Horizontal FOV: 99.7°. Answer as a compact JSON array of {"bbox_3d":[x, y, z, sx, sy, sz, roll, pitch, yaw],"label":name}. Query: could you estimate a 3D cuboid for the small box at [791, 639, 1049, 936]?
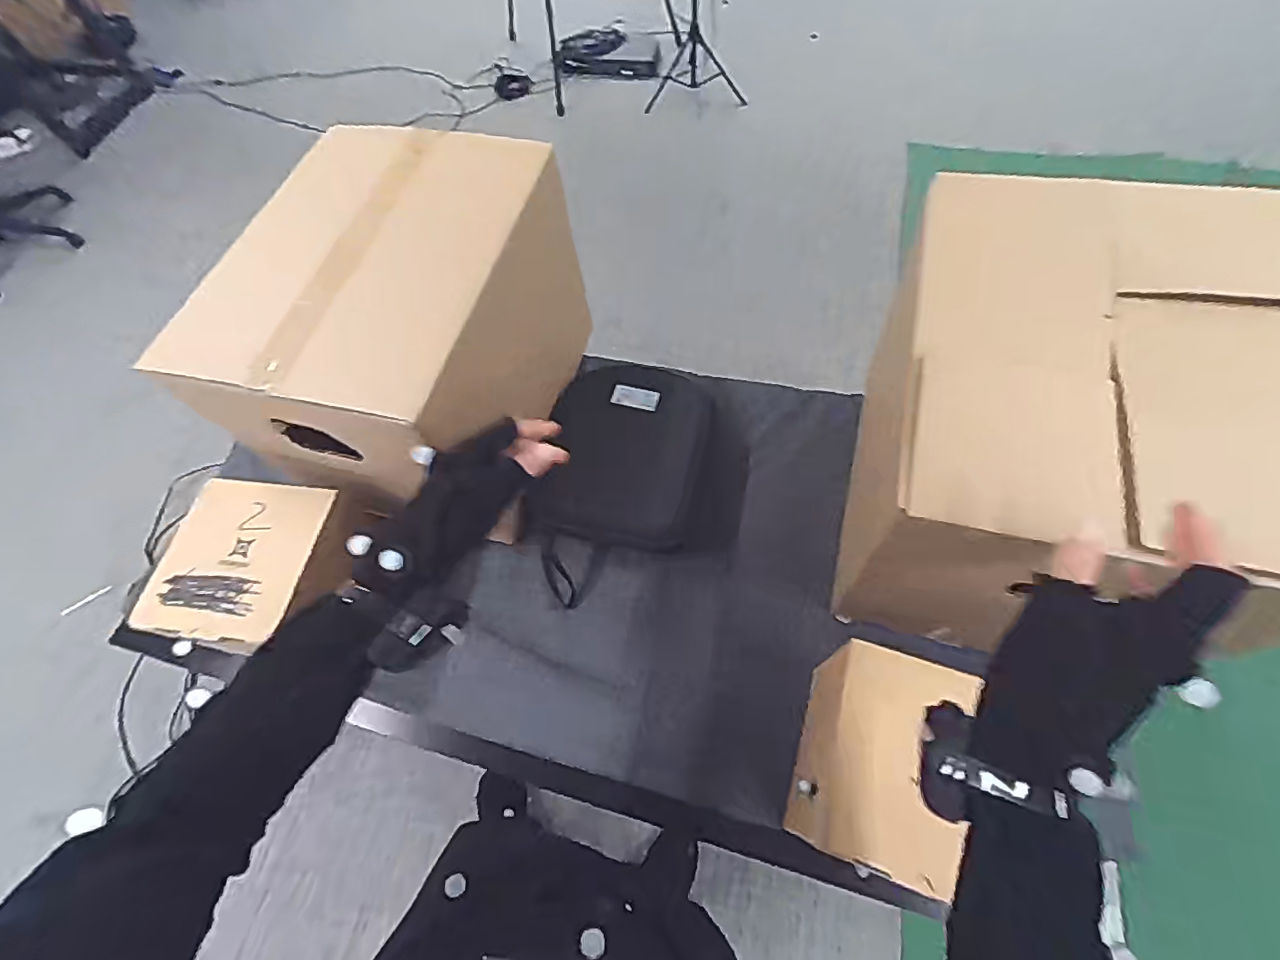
[{"bbox_3d":[0.254,0.278,0.521,0.168,0.176,0.179,16,66,13],"label":"small box"}]
